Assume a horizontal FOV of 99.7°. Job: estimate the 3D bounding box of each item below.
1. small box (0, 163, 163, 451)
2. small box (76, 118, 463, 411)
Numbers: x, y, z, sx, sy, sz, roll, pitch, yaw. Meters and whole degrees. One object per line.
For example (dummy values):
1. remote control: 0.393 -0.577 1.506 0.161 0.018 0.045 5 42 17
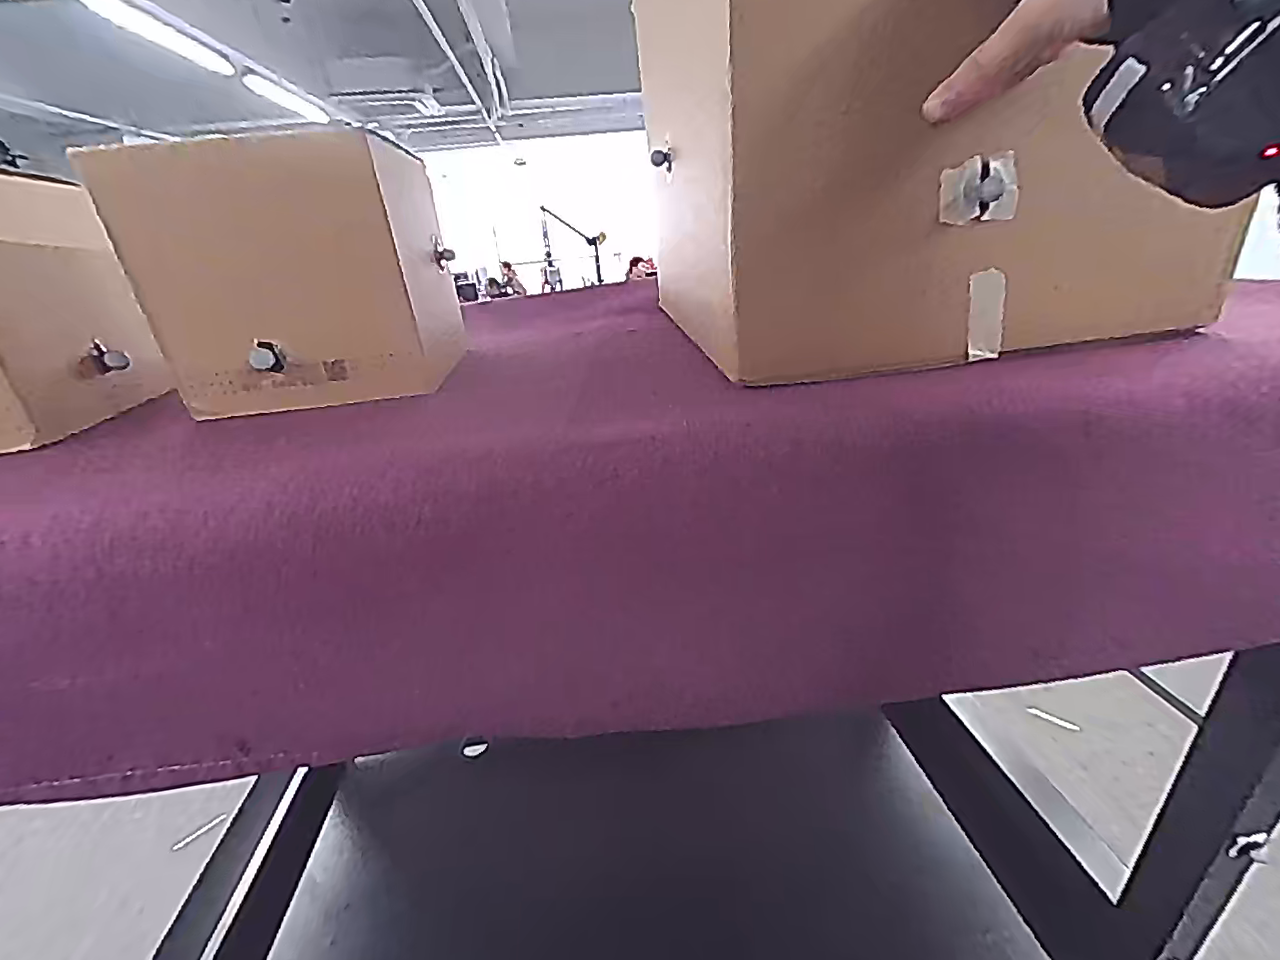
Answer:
1. small box: -0.483 -0.115 0.370 0.168 0.176 0.179 -11 25 -12
2. small box: -0.247 -0.162 0.422 0.168 0.176 0.179 -9 25 -5
